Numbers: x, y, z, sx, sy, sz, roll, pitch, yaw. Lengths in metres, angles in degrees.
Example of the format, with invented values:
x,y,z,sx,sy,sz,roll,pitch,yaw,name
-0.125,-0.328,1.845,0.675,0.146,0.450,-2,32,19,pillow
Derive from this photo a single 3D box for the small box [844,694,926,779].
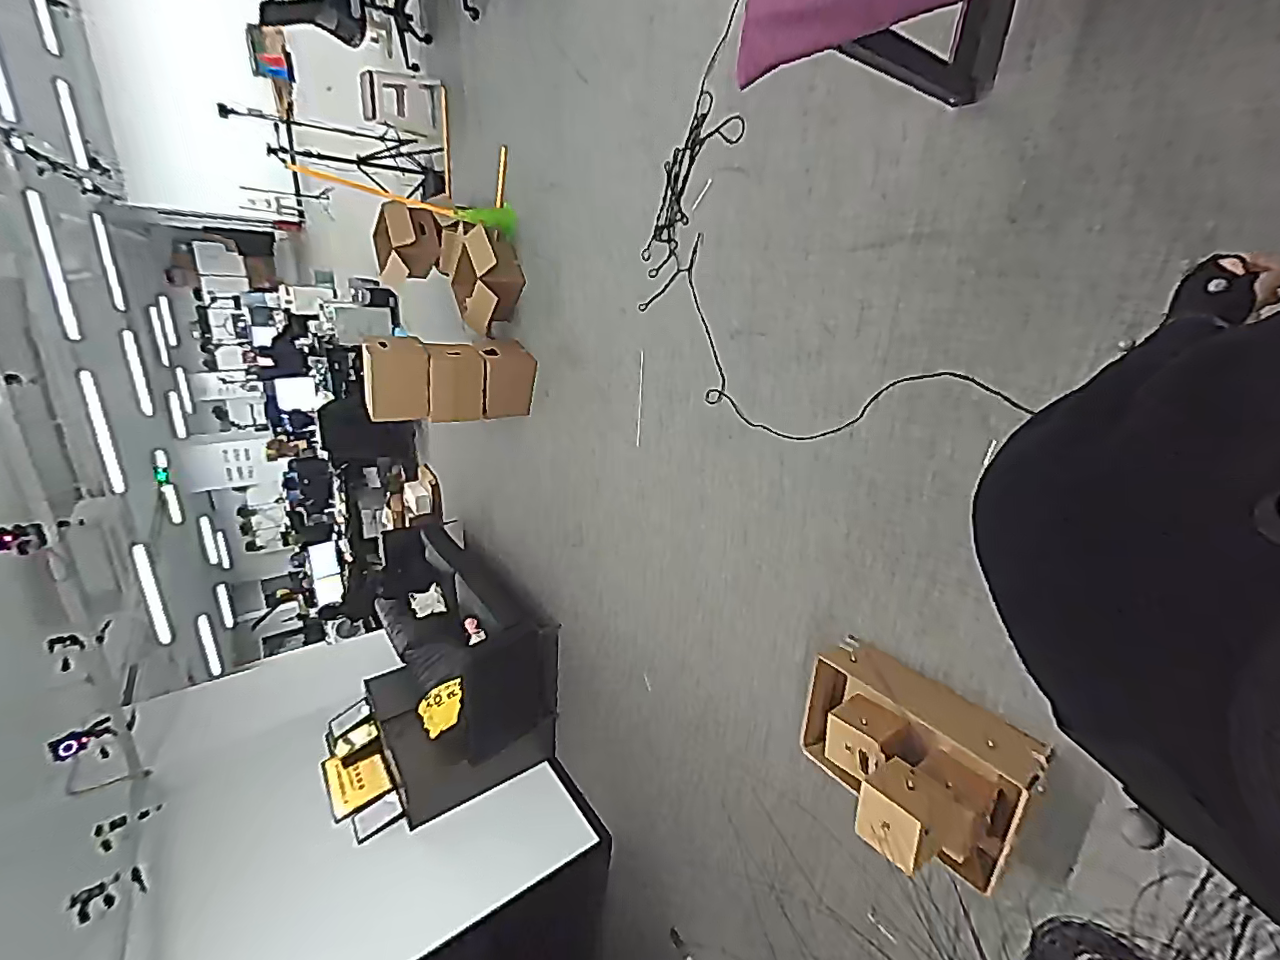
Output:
x,y,z,sx,sy,sz,roll,pitch,yaw,name
0.773,0.809,1.705,0.179,0.176,0.168,18,113,53,small box

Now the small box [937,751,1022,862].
x,y,z,sx,sy,sz,roll,pitch,yaw,name
0.923,0.894,1.504,0.179,0.176,0.168,24,117,54,small box

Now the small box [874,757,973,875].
x,y,z,sx,sy,sz,roll,pitch,yaw,name
0.761,0.887,1.449,0.168,0.176,0.179,22,116,55,small box
